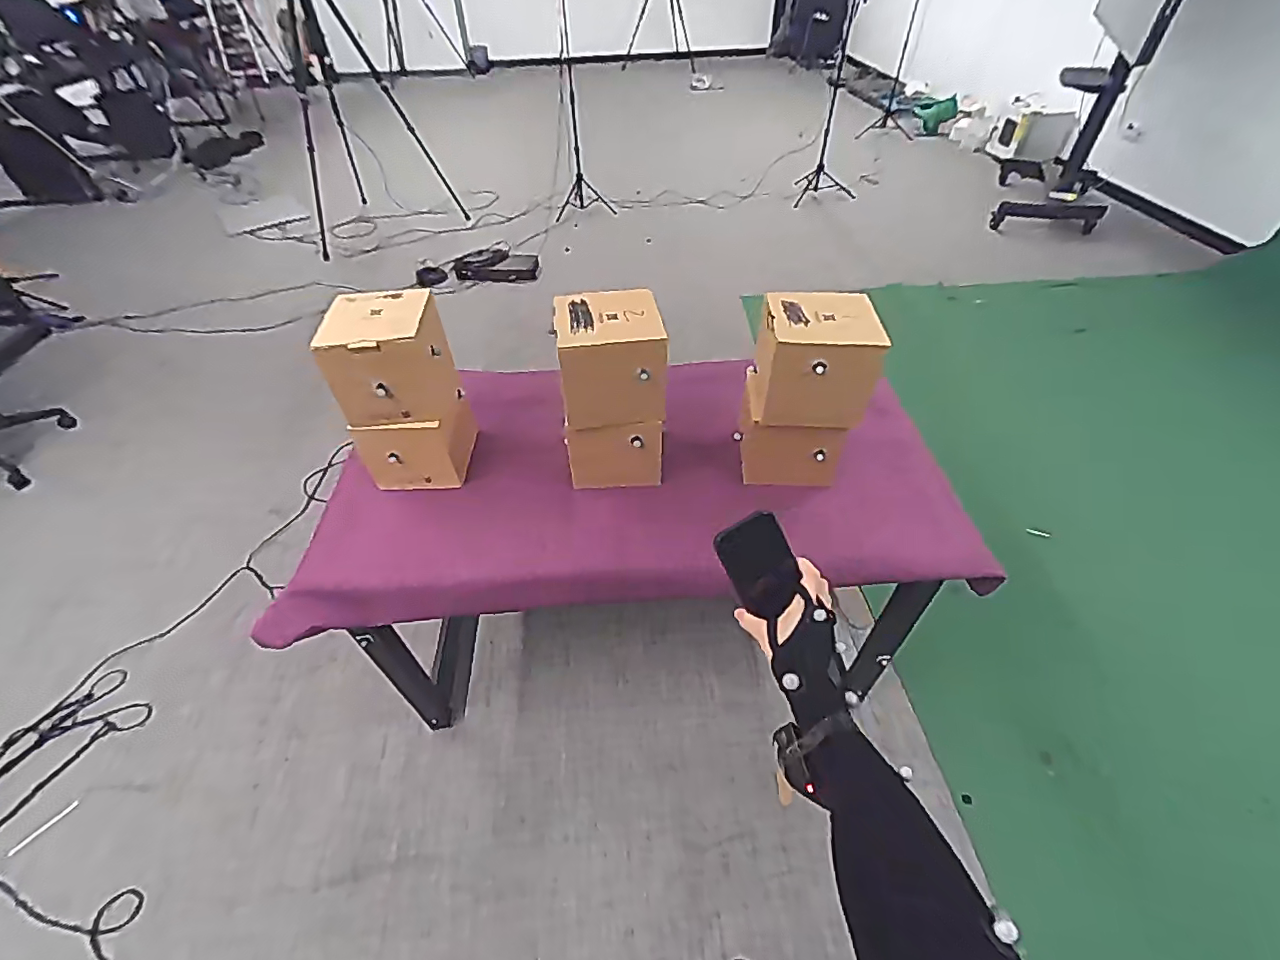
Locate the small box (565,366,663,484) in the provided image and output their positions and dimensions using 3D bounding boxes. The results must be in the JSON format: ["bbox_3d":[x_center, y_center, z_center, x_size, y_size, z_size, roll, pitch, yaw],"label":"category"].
[{"bbox_3d":[-0.048,-0.106,1.070,0.179,0.176,0.168,-2,46,0],"label":"small box"}]

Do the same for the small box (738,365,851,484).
[{"bbox_3d":[0.293,-0.107,1.063,0.179,0.176,0.168,2,46,4],"label":"small box"}]

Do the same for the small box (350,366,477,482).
[{"bbox_3d":[-0.439,-0.107,1.083,0.168,0.176,0.179,-2,46,0],"label":"small box"}]

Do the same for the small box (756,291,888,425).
[{"bbox_3d":[0.298,-0.209,0.934,0.179,0.176,0.168,3,46,3],"label":"small box"}]

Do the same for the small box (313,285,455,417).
[{"bbox_3d":[-0.443,-0.226,0.970,0.168,0.176,0.179,-5,47,-4],"label":"small box"}]
